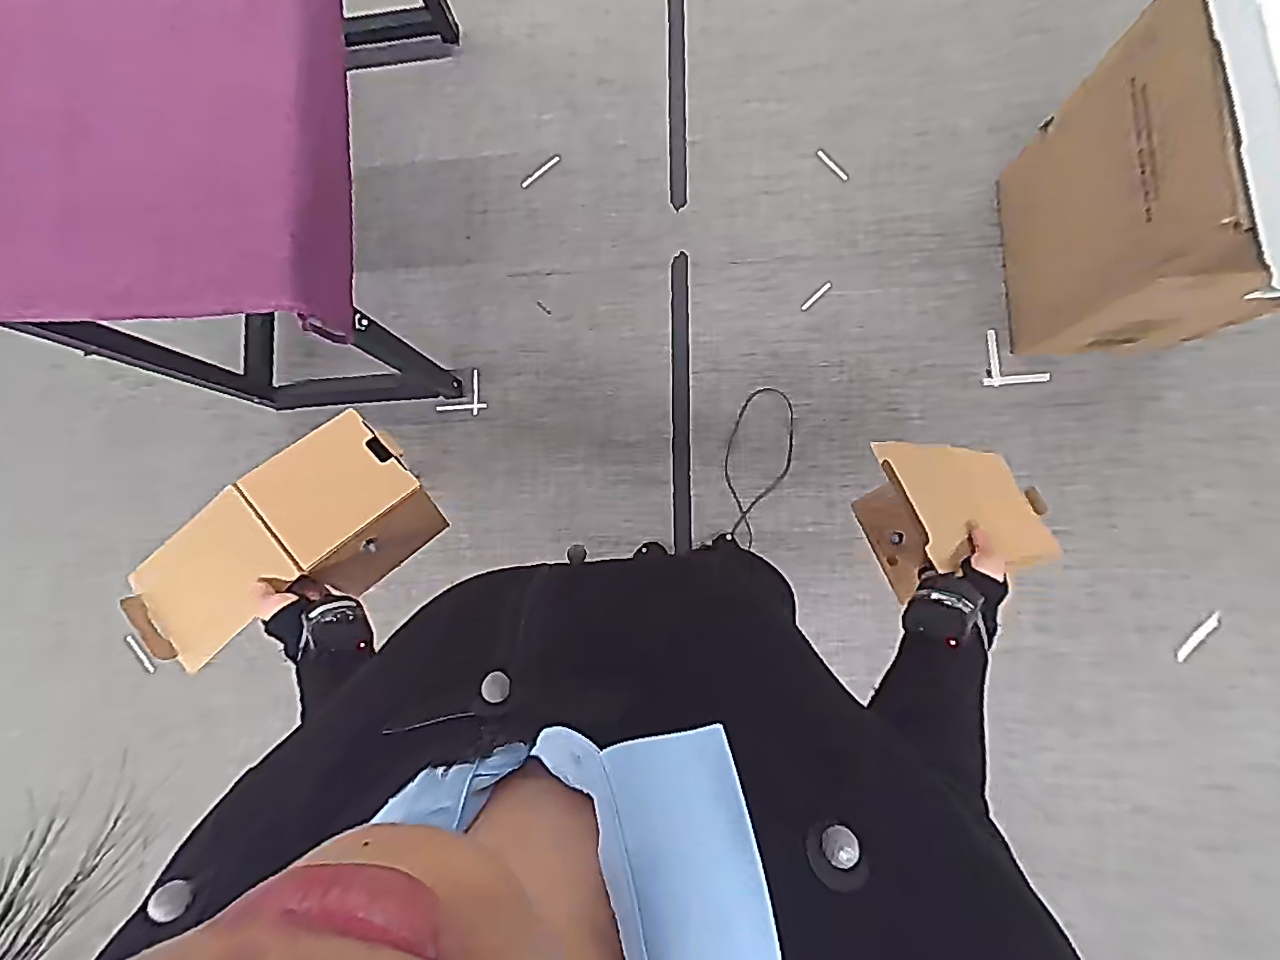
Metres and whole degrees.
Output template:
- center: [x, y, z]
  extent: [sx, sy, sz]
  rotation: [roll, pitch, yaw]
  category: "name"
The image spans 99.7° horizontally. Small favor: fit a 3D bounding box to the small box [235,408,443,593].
- center: [-0.416, 0.038, 0.780]
  extent: [0.179, 0.176, 0.168]
  rotation: [-41, 76, -20]
  category: "small box"
